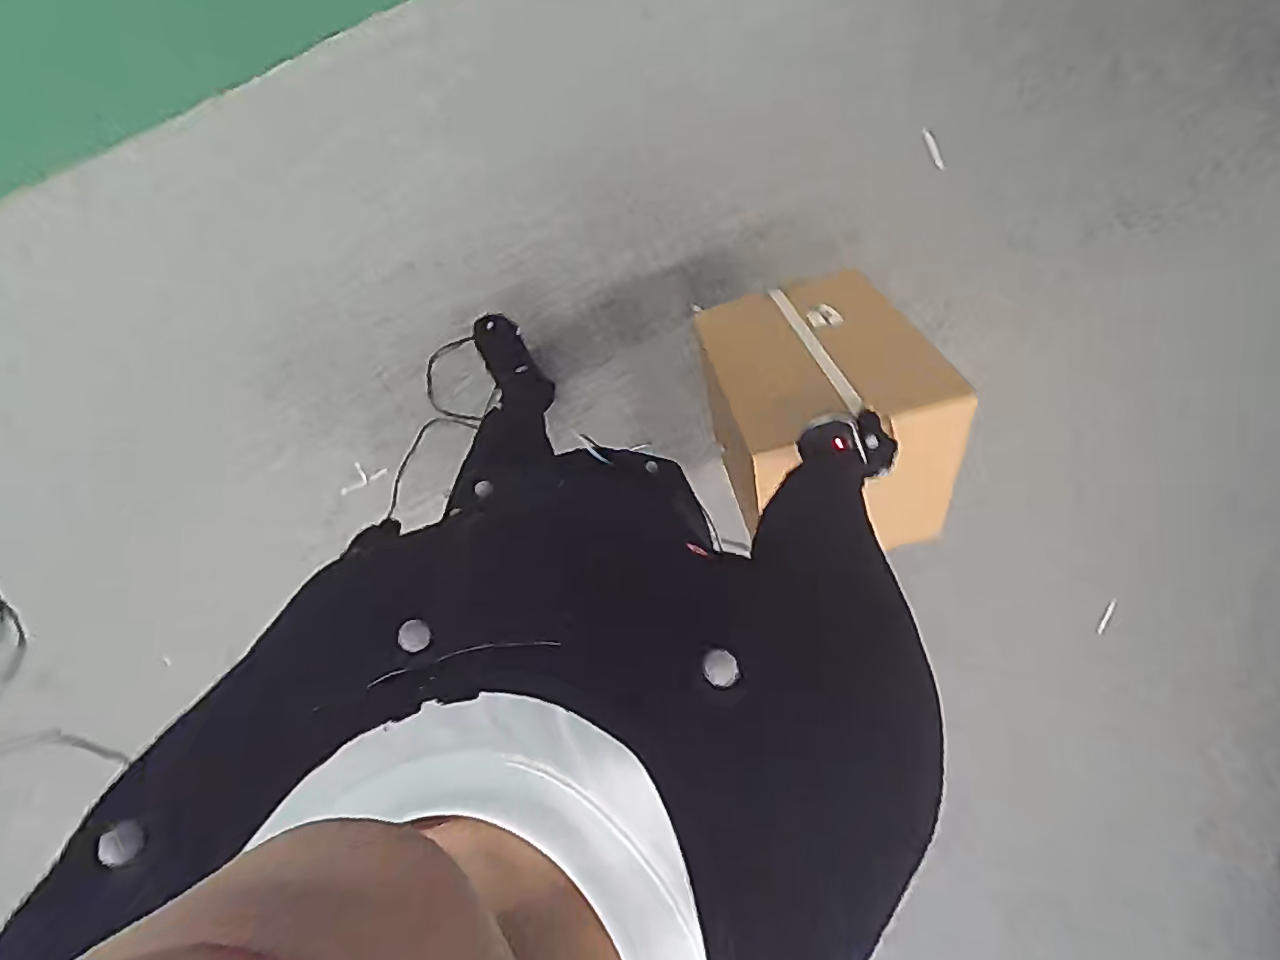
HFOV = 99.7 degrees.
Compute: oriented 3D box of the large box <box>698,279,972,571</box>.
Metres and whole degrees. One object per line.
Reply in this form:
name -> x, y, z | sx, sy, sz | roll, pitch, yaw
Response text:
large box -> 0.317, -0.106, 0.989 | 0.320, 0.408, 0.320 | -13, 134, 3
